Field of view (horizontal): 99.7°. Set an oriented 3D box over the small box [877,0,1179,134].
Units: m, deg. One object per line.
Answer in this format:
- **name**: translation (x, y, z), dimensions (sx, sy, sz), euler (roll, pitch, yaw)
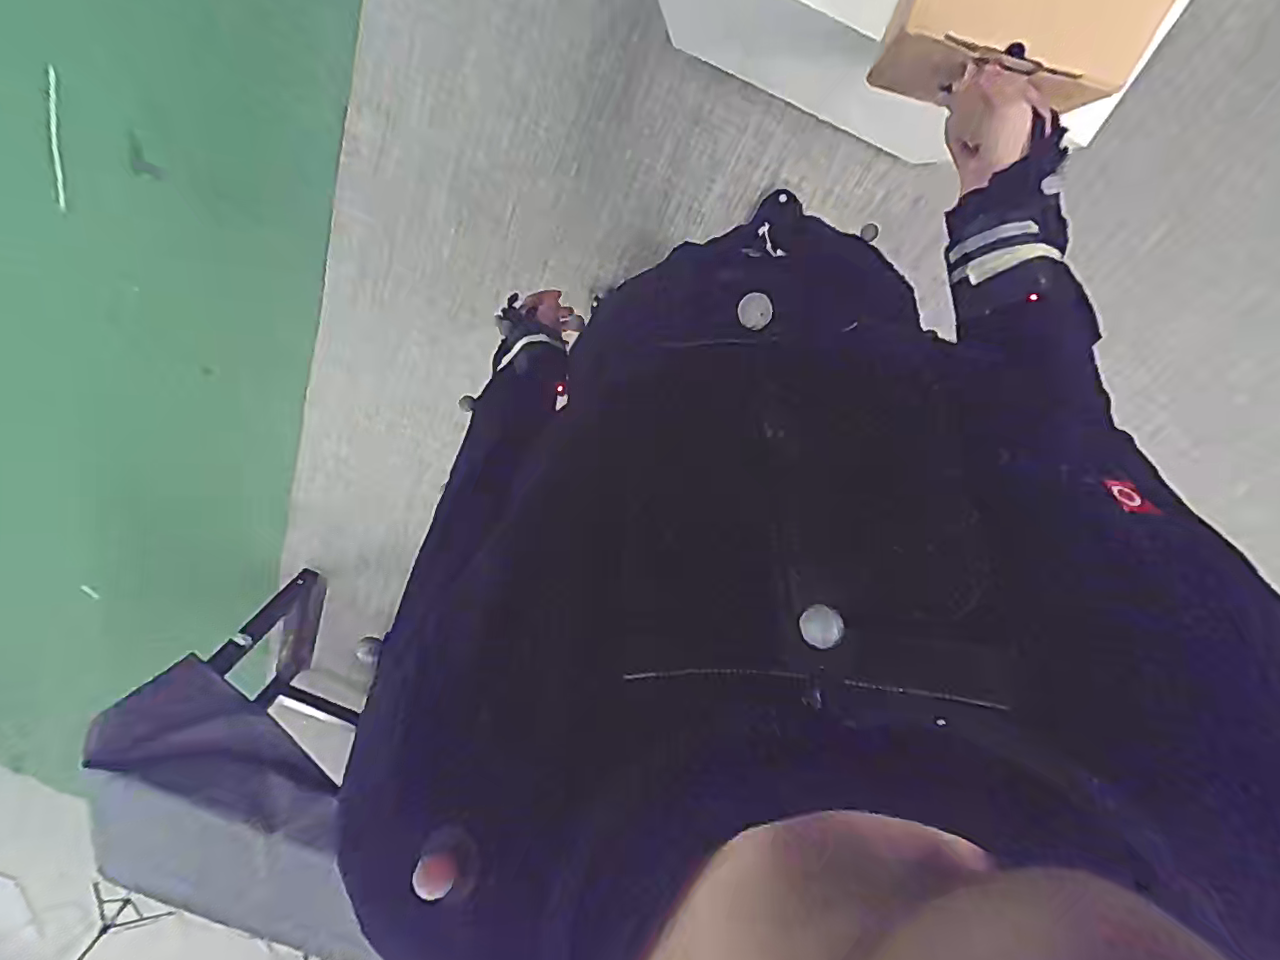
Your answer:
- **small box**: translation (0.312, -0.408, 0.430), dimensions (0.168, 0.176, 0.179), euler (19, 116, 4)
